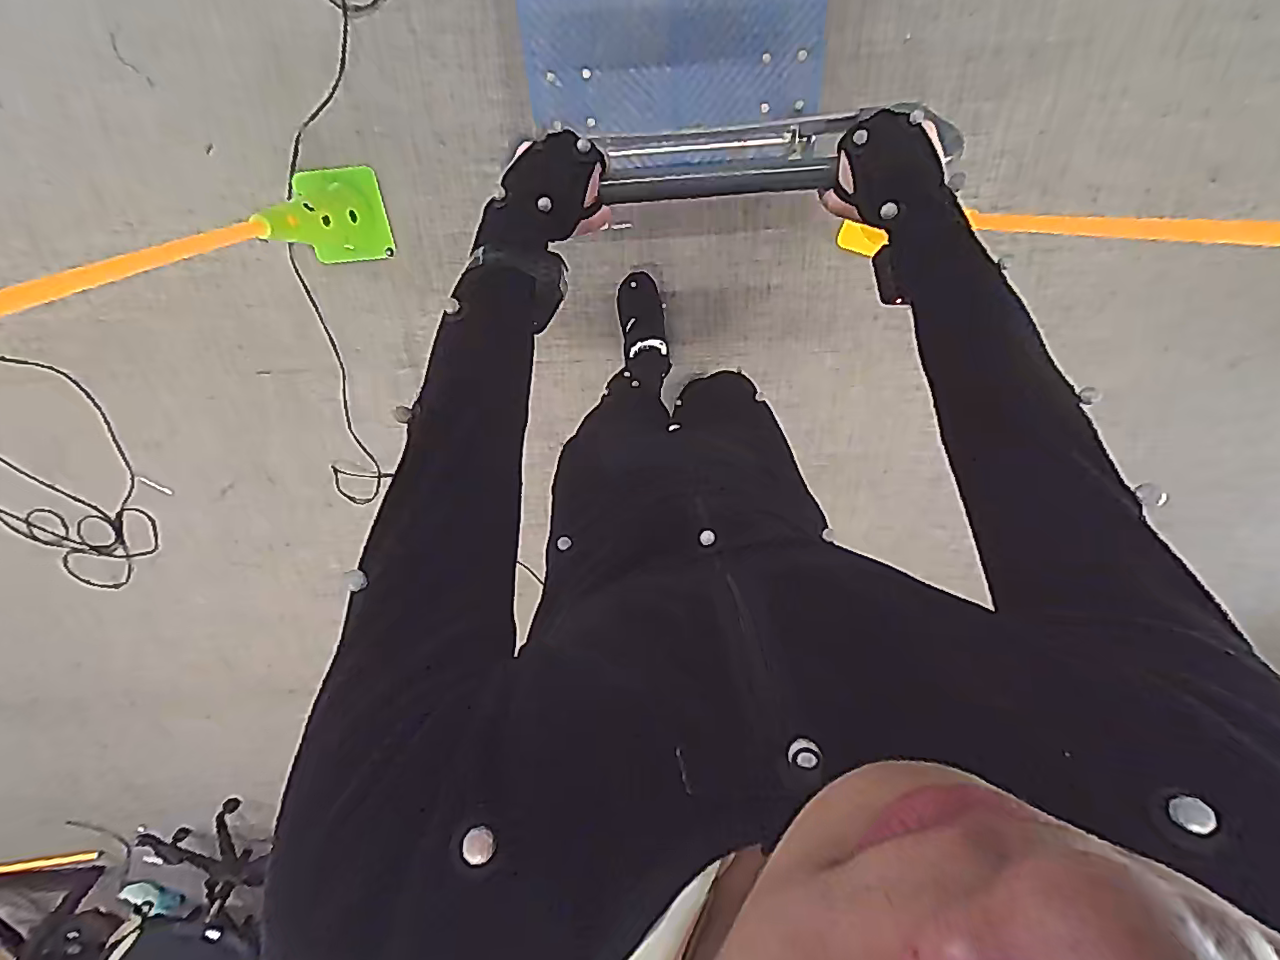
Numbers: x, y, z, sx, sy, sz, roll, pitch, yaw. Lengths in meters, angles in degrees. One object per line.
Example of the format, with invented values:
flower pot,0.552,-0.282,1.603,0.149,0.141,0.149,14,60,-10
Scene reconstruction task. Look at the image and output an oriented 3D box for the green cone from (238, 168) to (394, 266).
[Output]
green cone,-0.714,-0.549,1.150,0.202,0.368,0.200,-5,118,3
